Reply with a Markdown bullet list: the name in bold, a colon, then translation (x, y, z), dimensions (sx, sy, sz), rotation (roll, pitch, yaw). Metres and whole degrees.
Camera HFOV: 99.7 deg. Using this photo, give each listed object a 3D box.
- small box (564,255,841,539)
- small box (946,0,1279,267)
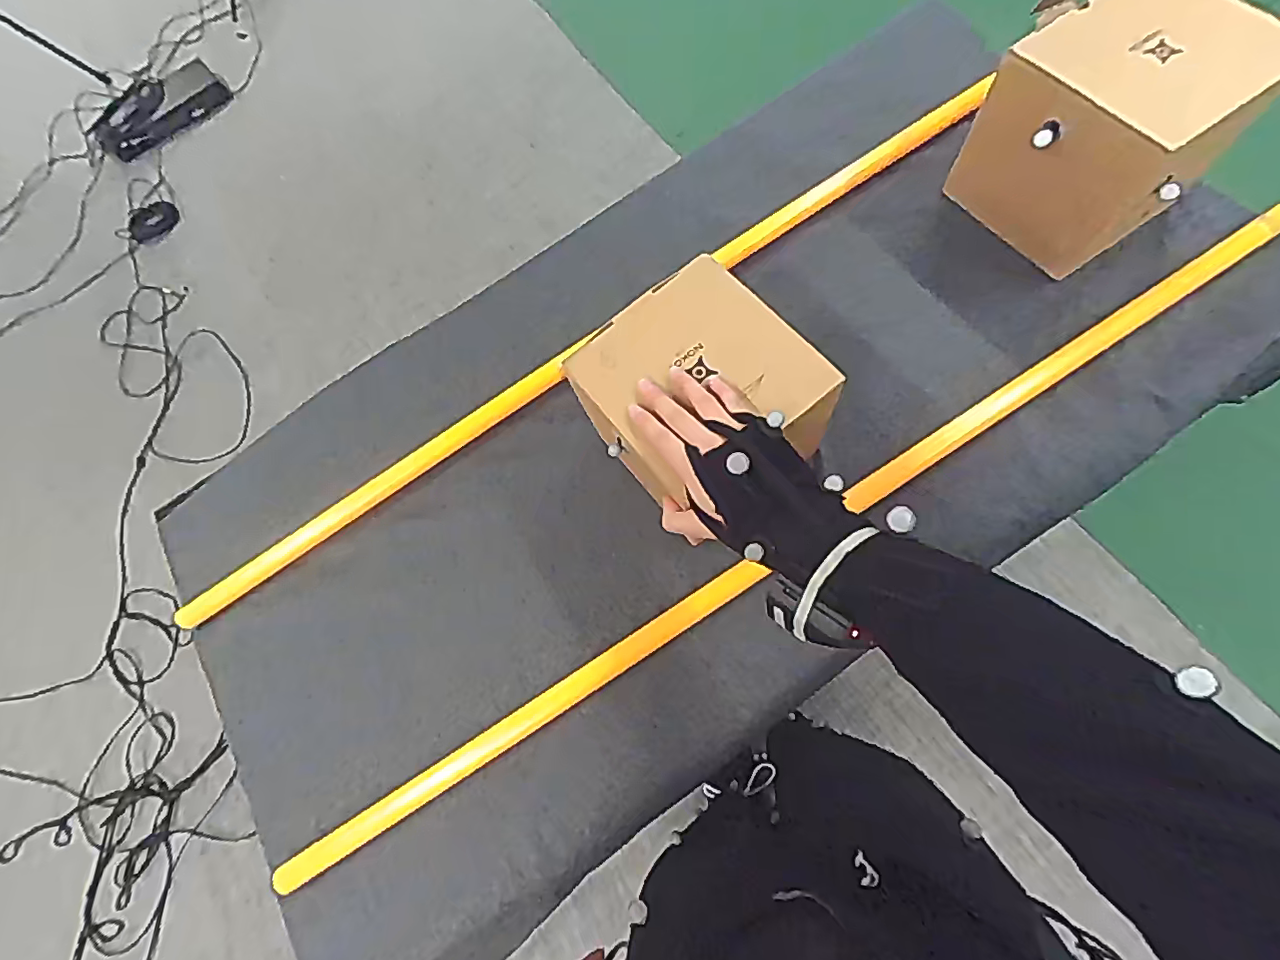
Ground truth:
- **small box**: translation (0.058, -0.067, 0.523), dimensions (0.168, 0.176, 0.179), rotation (-39, 70, -4)
- **small box**: translation (0.461, -0.351, 0.552), dimensions (0.168, 0.176, 0.179), rotation (-34, 69, -2)
